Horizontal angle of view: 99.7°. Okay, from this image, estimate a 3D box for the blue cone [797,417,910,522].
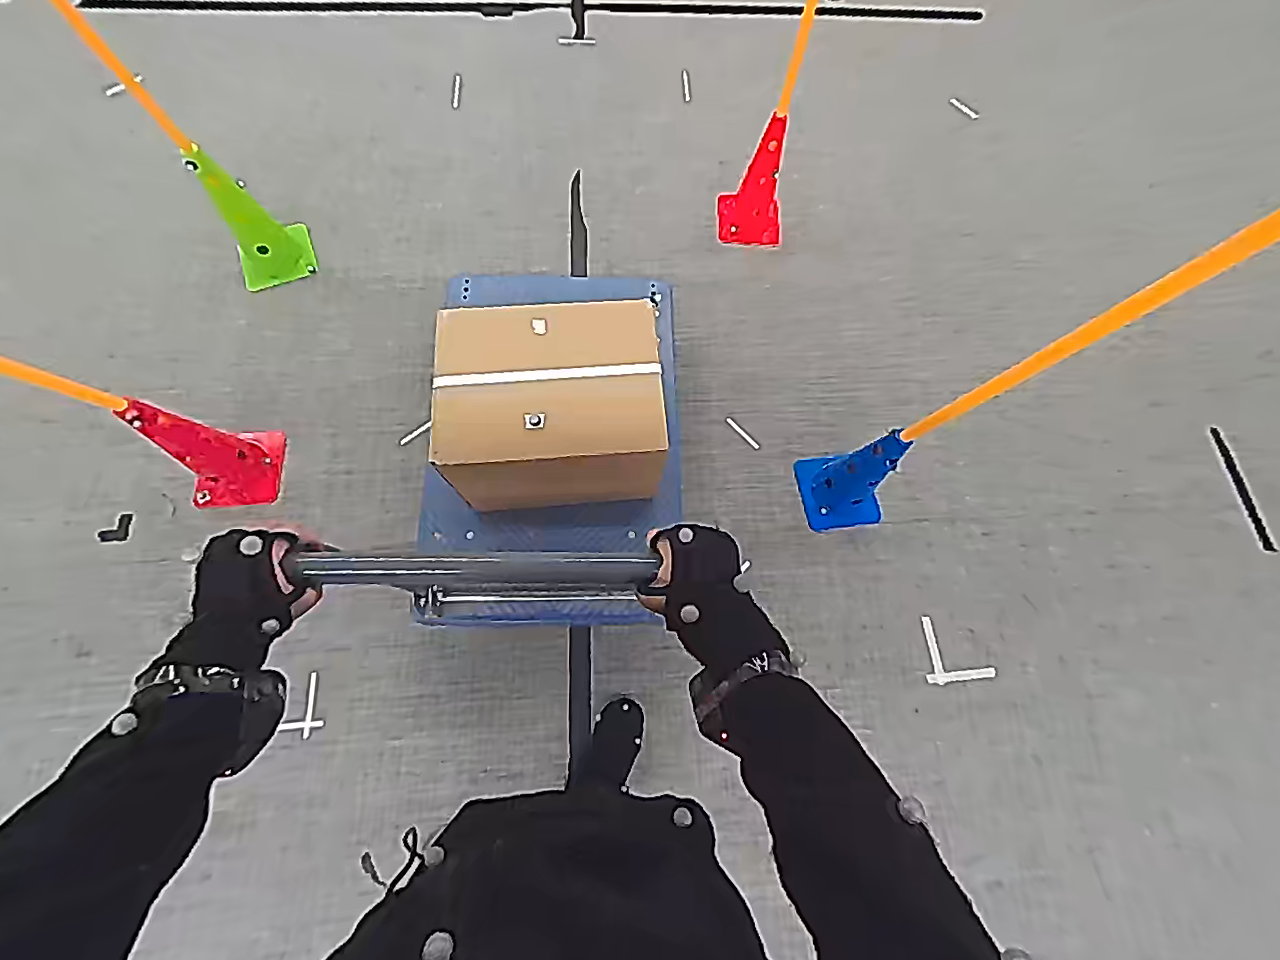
[{"bbox_3d":[0.534,-0.041,1.284,0.193,0.380,0.192,-6,70,-5],"label":"blue cone"}]

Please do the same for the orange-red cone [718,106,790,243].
[{"bbox_3d":[0.360,-0.893,1.556,0.199,0.360,0.198,5,71,-3],"label":"orange-red cone"}]
